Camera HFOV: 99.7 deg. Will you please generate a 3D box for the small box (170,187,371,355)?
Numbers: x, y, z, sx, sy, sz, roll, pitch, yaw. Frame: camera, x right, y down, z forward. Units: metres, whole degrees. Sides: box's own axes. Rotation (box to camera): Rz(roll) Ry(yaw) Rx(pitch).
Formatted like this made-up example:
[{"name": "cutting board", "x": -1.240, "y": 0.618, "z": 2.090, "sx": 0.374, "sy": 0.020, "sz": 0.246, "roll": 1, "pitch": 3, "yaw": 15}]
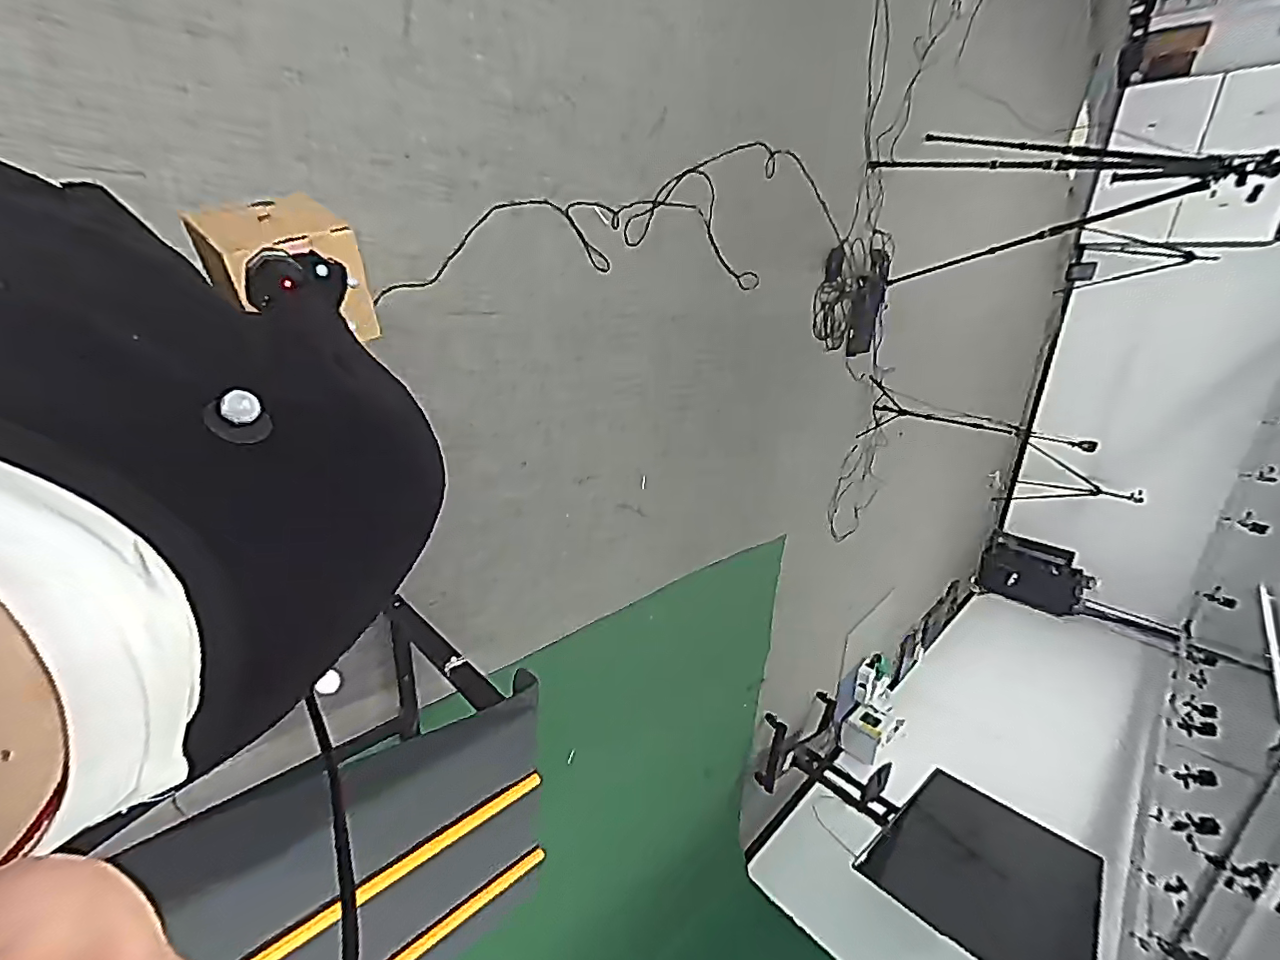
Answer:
[{"name": "small box", "x": -0.530, "y": -0.305, "z": 0.798, "sx": 0.168, "sy": 0.179, "sz": 0.176, "roll": -34, "pitch": 148, "yaw": -34}]
